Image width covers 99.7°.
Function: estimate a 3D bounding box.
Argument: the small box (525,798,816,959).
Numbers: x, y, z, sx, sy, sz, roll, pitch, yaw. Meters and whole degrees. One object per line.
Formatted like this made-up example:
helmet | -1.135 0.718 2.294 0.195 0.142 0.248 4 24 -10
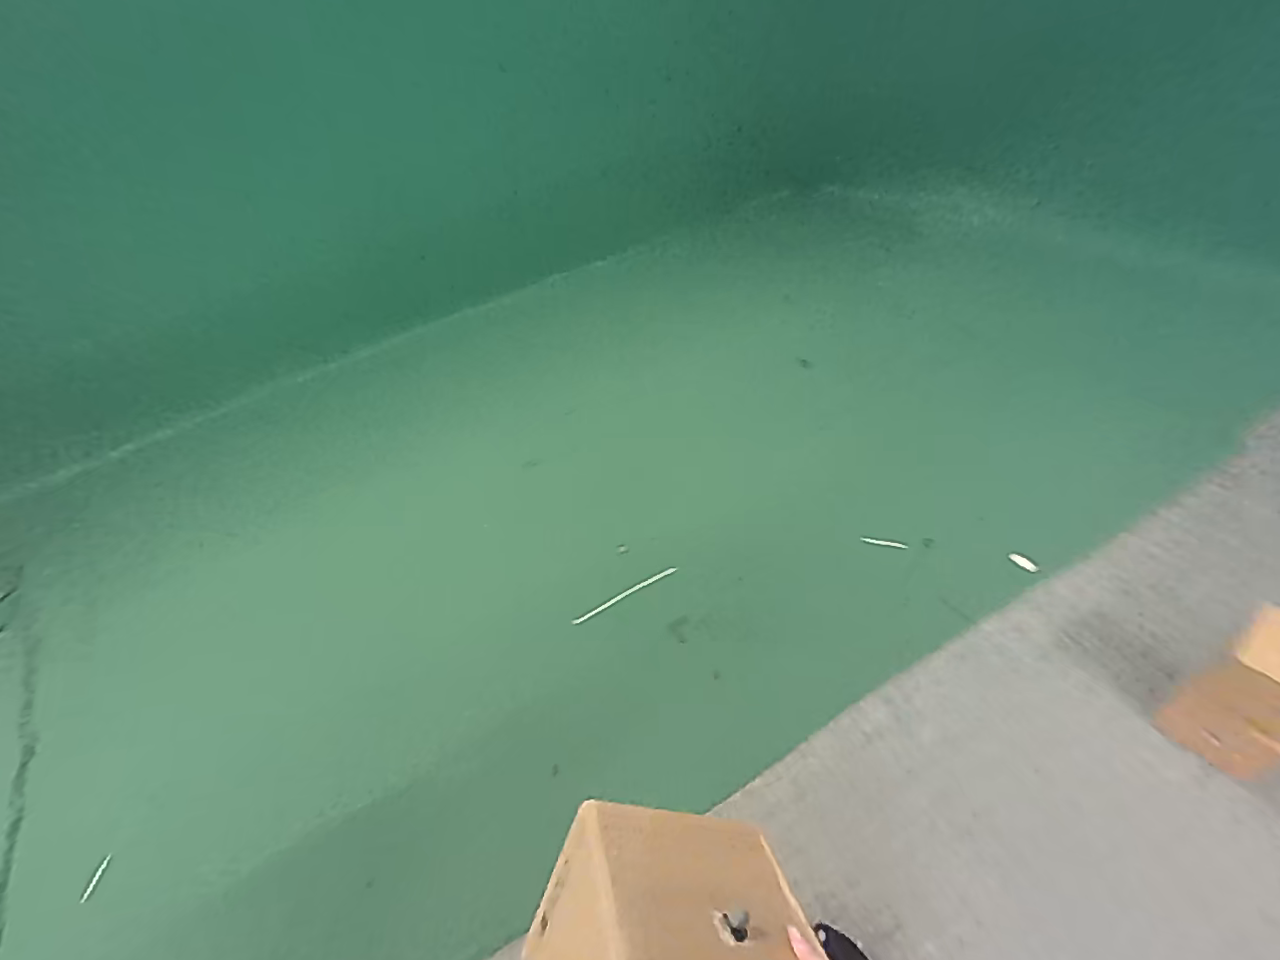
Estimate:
small box | 0.020 0.381 0.415 0.179 0.168 0.176 19 8 -17
